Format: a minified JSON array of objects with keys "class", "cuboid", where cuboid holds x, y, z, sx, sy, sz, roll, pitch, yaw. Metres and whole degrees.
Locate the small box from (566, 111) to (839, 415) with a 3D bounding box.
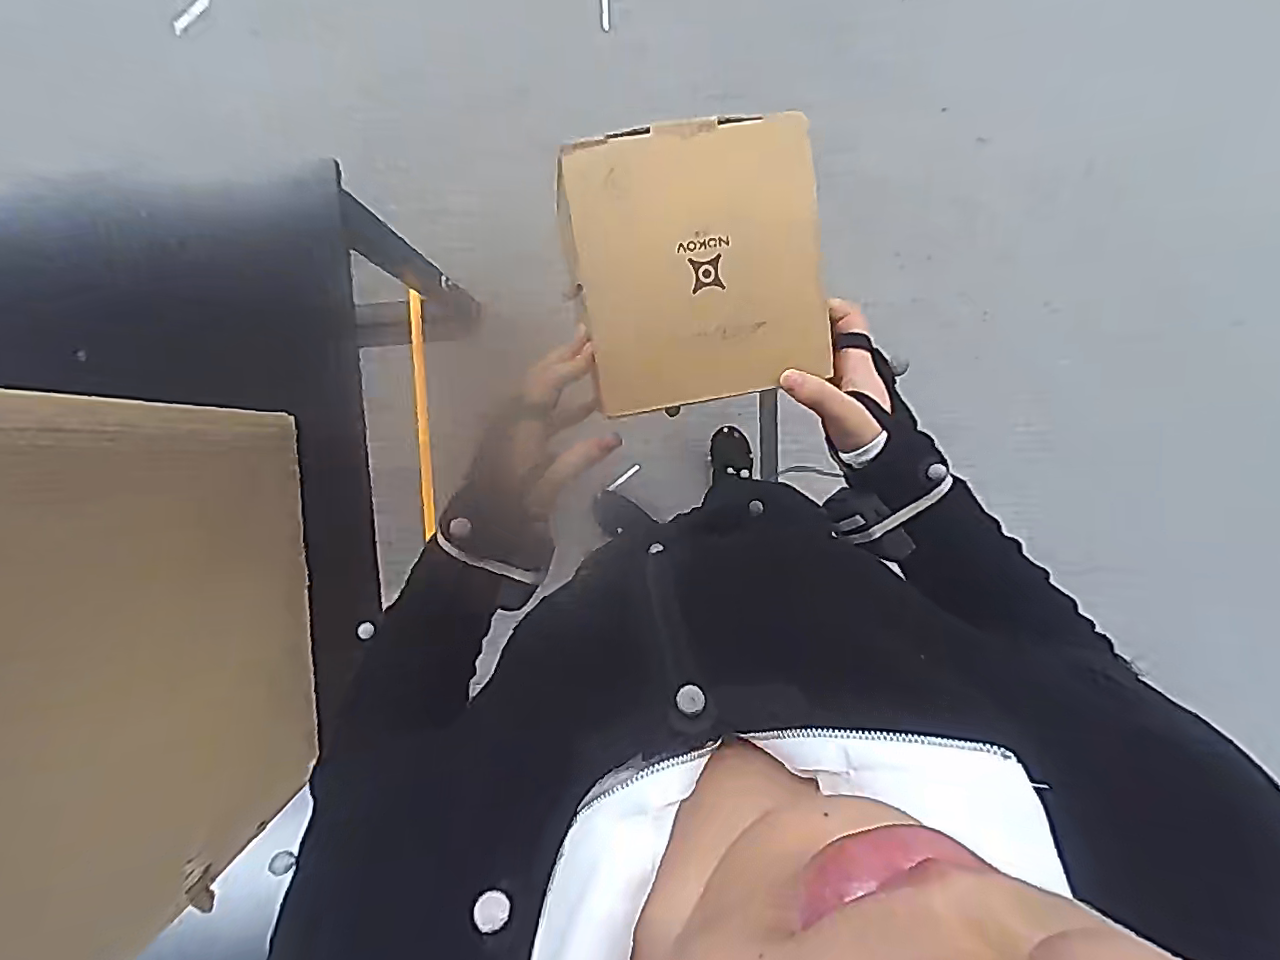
[{"class":"small box","cuboid":[0.036,-0.153,0.430,0.168,0.176,0.179,-10,102,-6]}]
